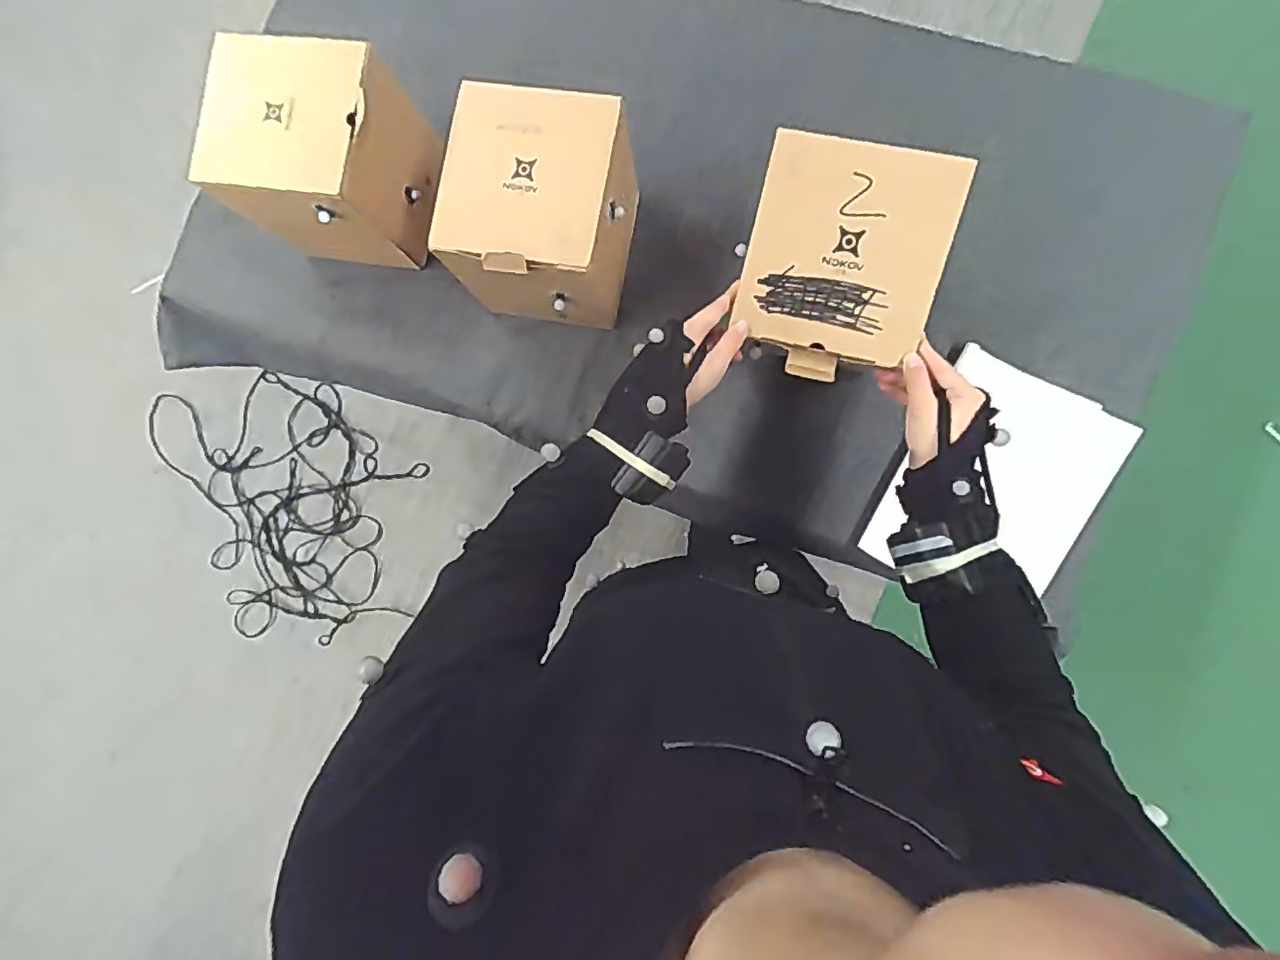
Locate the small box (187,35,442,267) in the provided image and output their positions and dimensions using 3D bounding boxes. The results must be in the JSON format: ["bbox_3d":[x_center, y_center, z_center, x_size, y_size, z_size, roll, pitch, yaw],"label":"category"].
[{"bbox_3d":[-0.363,-0.369,0.633,0.179,0.176,0.168,8,86,6],"label":"small box"}]

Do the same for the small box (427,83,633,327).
[{"bbox_3d":[-0.106,-0.288,0.600,0.168,0.176,0.179,10,86,5],"label":"small box"}]
